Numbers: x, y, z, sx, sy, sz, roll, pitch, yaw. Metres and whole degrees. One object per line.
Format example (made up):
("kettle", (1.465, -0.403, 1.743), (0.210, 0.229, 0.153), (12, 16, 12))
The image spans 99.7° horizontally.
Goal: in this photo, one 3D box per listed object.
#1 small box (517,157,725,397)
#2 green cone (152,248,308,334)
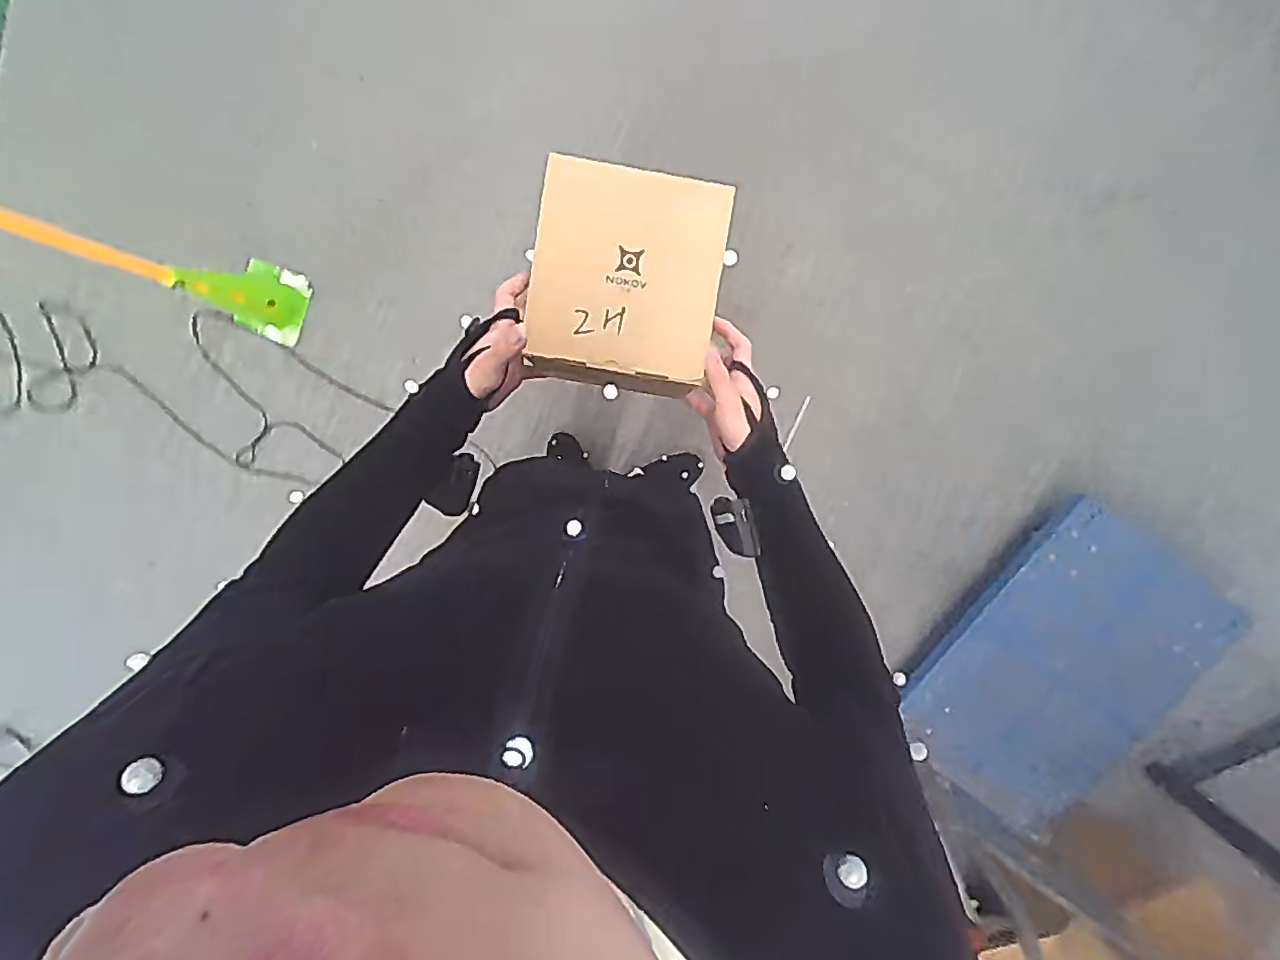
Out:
("small box", (-0.021, -0.191, 0.562), (0.168, 0.176, 0.179), (9, 94, -2))
("green cone", (-1.097, -0.525, 1.417), (0.200, 0.368, 0.202), (23, 100, -1))
